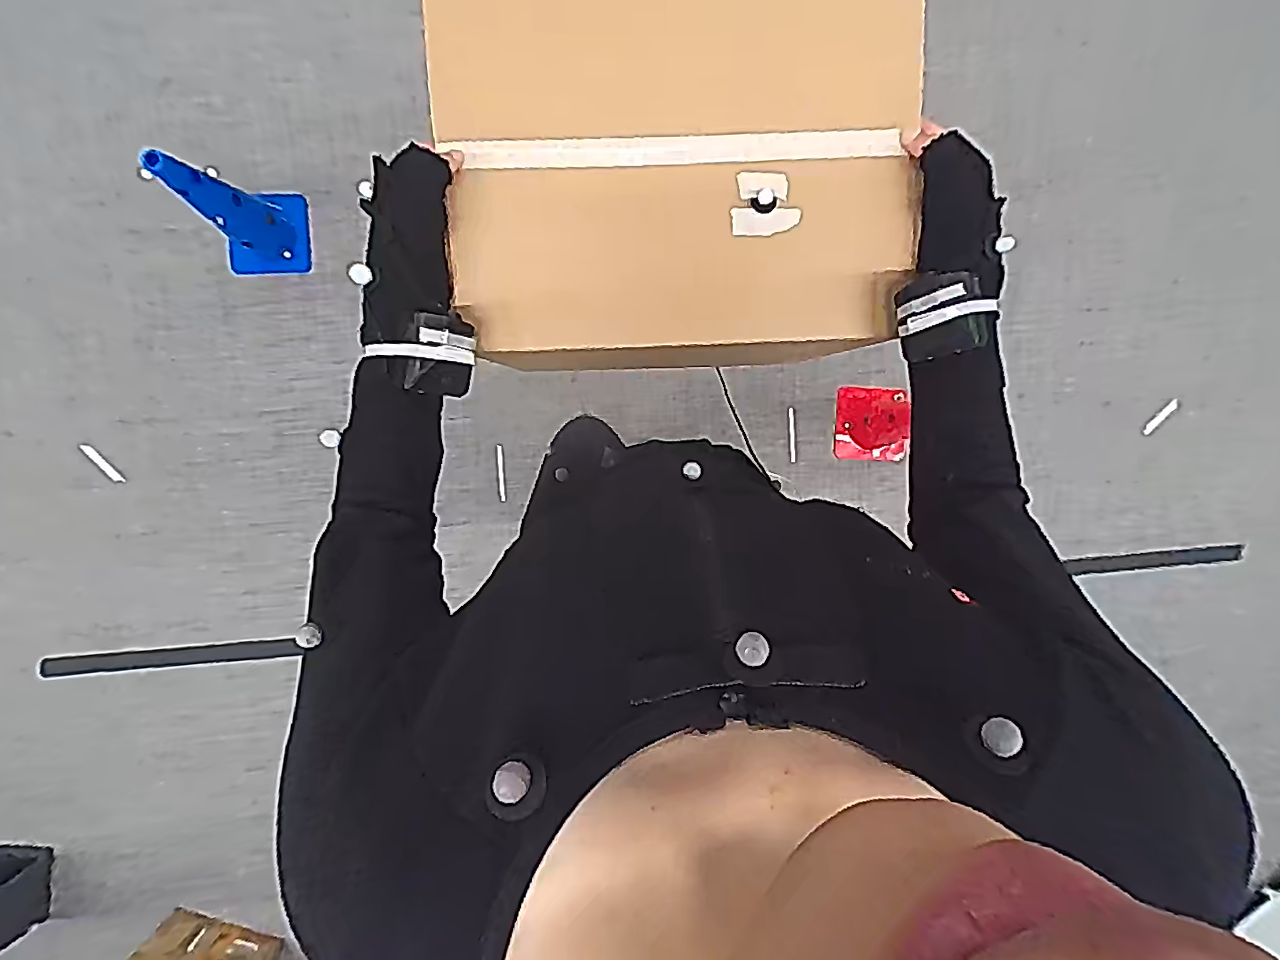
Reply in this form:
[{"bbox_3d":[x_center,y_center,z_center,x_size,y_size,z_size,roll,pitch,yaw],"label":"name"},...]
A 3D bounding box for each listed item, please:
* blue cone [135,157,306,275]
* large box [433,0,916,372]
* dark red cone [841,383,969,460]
[{"bbox_3d":[-0.949,-0.615,1.223,0.192,0.380,0.193,-1,93,-2],"label":"blue cone"},{"bbox_3d":[0.028,-0.297,0.604,0.408,0.320,0.320,-3,98,-3],"label":"large box"},{"bbox_3d":[0.653,-0.150,1.304,0.201,0.394,0.202,2,93,-2],"label":"dark red cone"}]
